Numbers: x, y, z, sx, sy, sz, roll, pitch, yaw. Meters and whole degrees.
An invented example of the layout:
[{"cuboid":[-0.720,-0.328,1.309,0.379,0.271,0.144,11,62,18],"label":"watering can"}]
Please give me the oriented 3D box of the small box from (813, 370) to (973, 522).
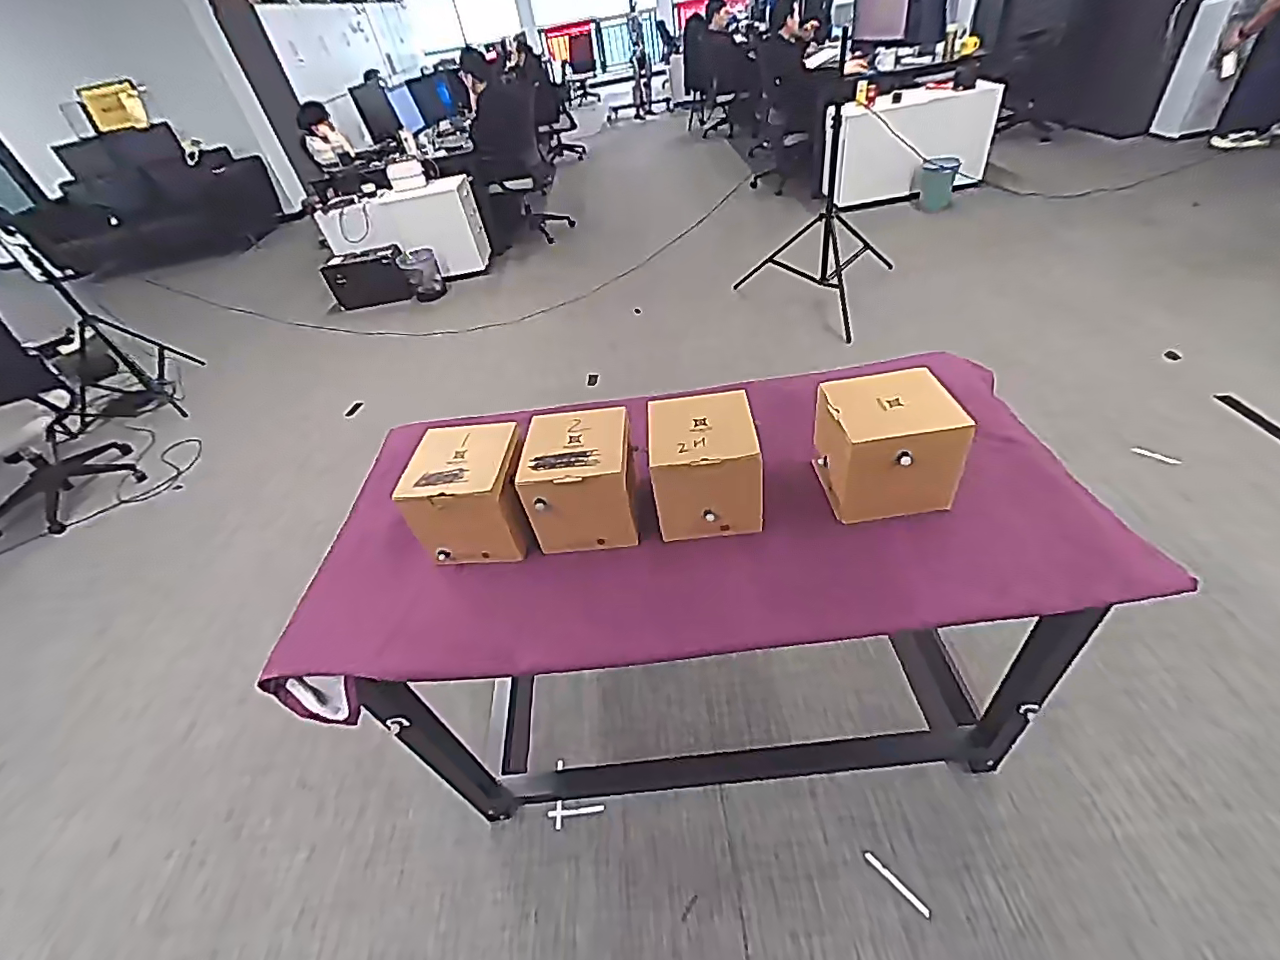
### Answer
[{"cuboid":[0.390,-0.052,0.872,0.179,0.176,0.168,-9,40,4],"label":"small box"}]
